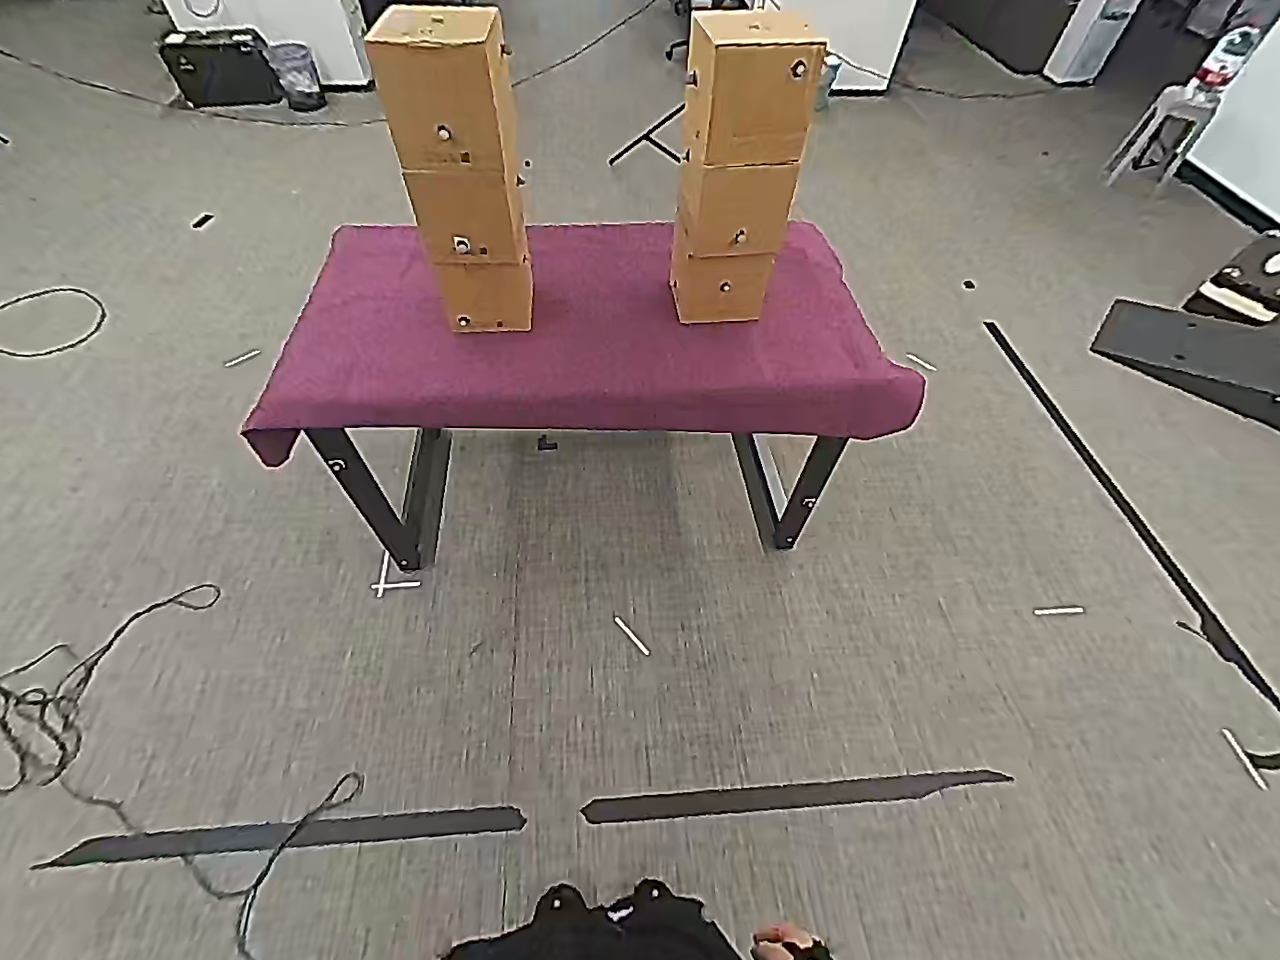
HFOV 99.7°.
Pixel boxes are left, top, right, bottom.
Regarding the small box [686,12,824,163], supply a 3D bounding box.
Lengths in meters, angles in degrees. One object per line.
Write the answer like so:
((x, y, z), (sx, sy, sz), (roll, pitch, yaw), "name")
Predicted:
((0.176, -0.649, 0.903), (0.179, 0.176, 0.168), (-7, 54, -7), "small box")

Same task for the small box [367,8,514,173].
((-0.298, -0.612, 0.854), (0.168, 0.176, 0.179), (-1, 54, -2), "small box")

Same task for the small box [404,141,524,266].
((-0.308, -0.514, 0.986), (0.168, 0.176, 0.179), (-3, 55, -4), "small box")

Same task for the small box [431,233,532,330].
((-0.317, -0.428, 1.123), (0.168, 0.176, 0.179), (-3, 53, -5), "small box")

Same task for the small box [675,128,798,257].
((0.173, -0.546, 1.029), (0.179, 0.176, 0.168), (-7, 54, -8), "small box")
